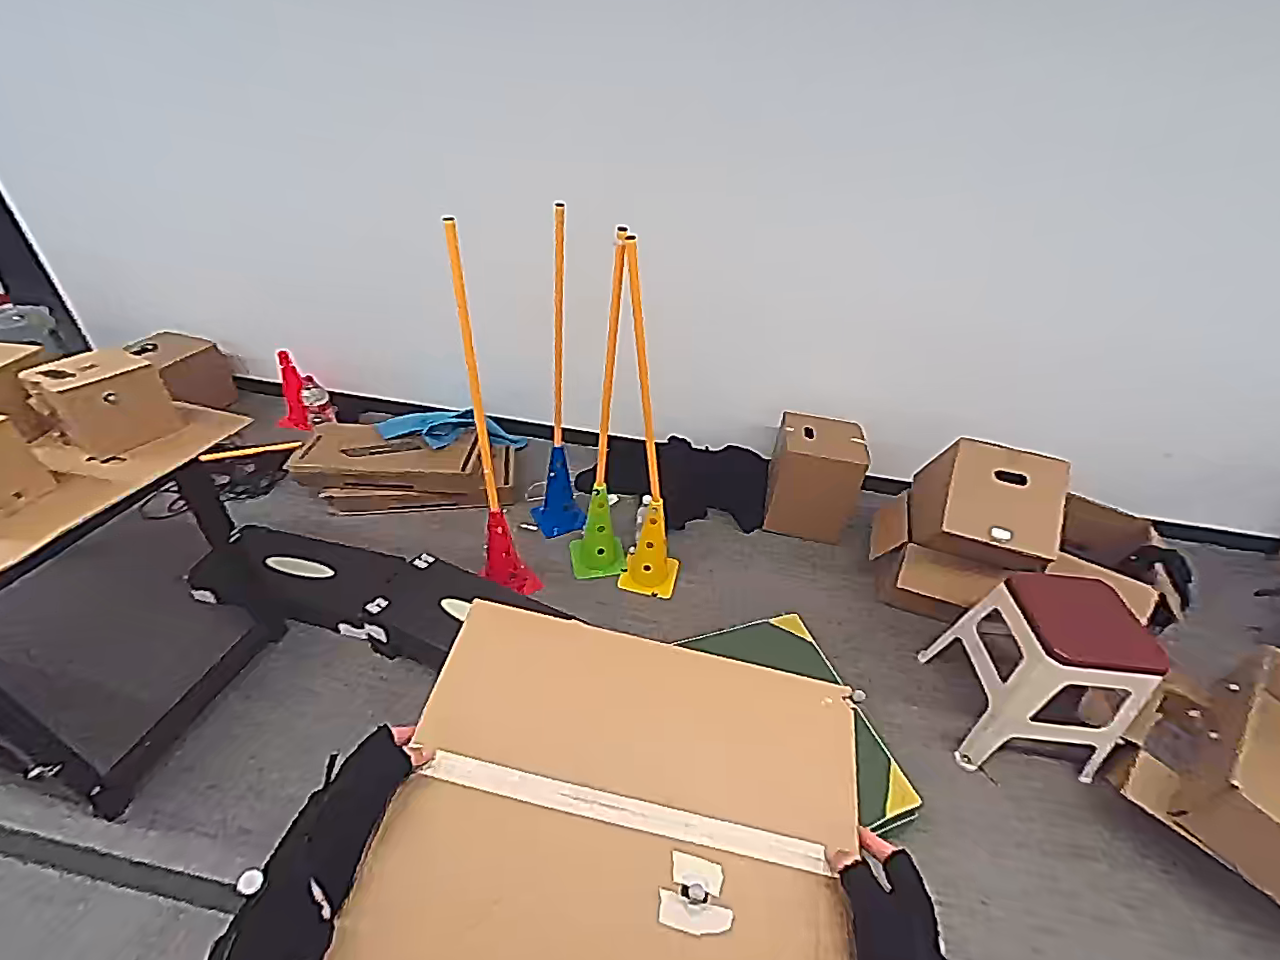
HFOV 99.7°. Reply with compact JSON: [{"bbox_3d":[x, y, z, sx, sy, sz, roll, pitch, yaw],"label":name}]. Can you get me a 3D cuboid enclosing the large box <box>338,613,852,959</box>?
[{"bbox_3d":[-0.027,0.390,0.598,0.408,0.320,0.320,13,52,3],"label":"large box"}]
